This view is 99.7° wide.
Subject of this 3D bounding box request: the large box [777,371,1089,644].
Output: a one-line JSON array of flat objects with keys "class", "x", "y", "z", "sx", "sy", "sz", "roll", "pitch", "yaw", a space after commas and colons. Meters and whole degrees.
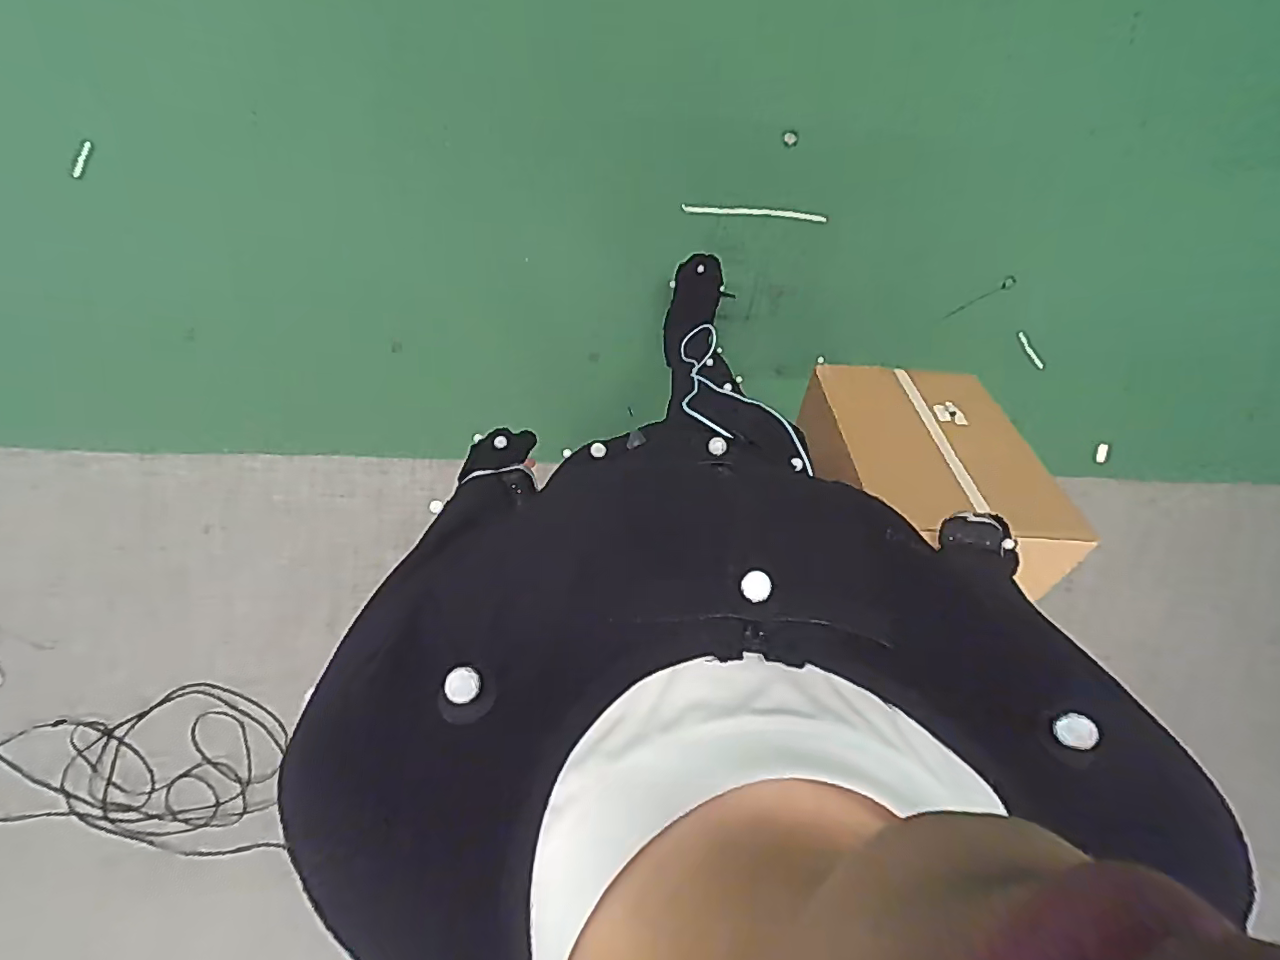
[{"class": "large box", "x": 0.467, "y": 0.045, "z": 0.990, "sx": 0.320, "sy": 0.408, "sz": 0.320, "roll": 4, "pitch": 134, "yaw": -3}]
